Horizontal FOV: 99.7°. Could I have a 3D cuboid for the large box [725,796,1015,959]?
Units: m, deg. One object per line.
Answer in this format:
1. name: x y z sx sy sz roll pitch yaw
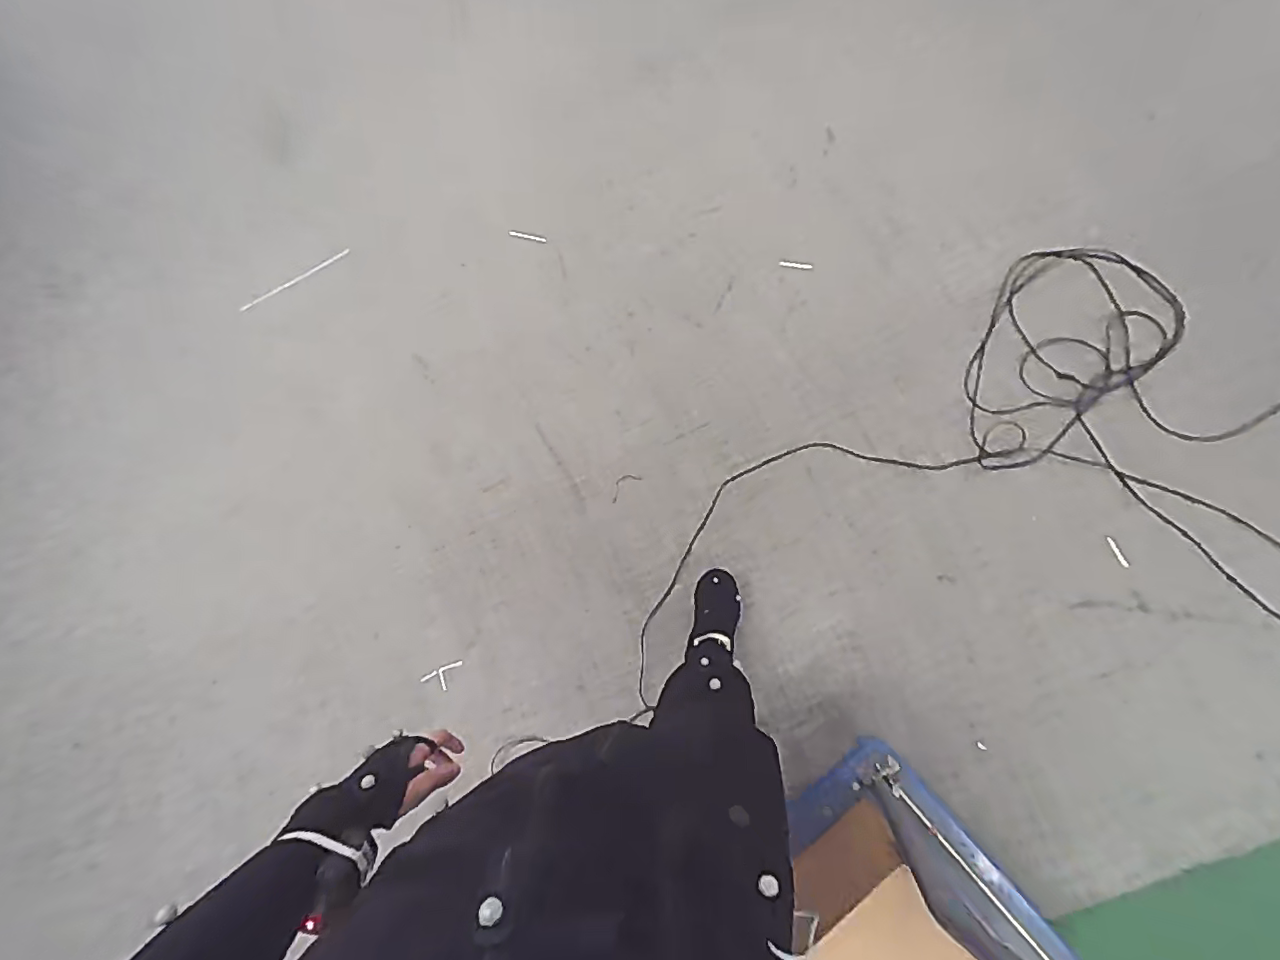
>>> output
1. large box: 0.387 0.844 0.915 0.408 0.320 0.320 -43 72 0
